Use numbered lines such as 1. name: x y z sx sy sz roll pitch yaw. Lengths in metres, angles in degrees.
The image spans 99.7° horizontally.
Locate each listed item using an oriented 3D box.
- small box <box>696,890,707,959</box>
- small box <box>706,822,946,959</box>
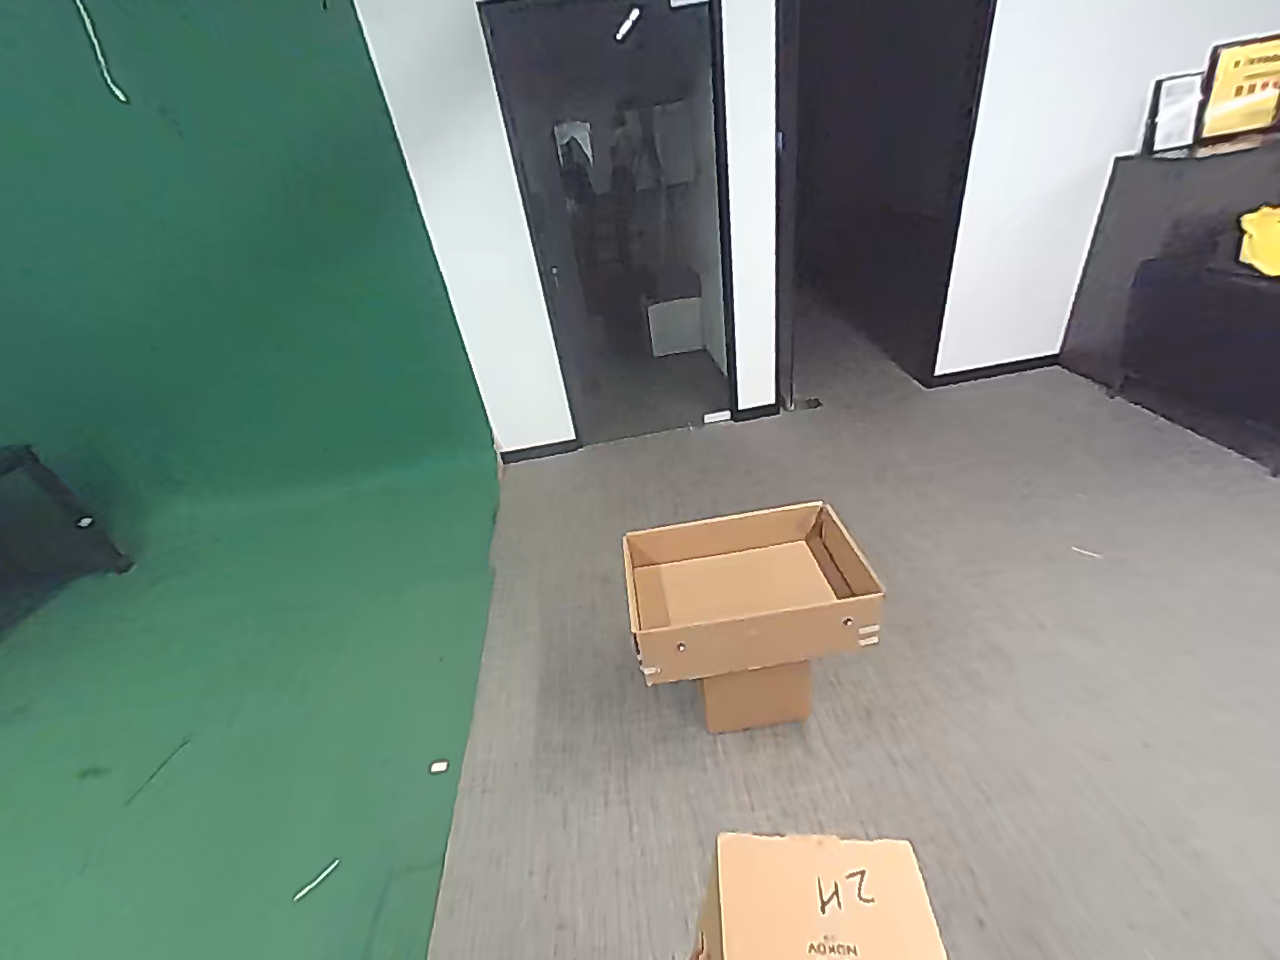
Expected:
1. small box: 0.144 0.541 0.535 0.179 0.176 0.168 1 35 4
2. small box: 0.140 0.410 0.434 0.168 0.176 0.179 1 35 4
